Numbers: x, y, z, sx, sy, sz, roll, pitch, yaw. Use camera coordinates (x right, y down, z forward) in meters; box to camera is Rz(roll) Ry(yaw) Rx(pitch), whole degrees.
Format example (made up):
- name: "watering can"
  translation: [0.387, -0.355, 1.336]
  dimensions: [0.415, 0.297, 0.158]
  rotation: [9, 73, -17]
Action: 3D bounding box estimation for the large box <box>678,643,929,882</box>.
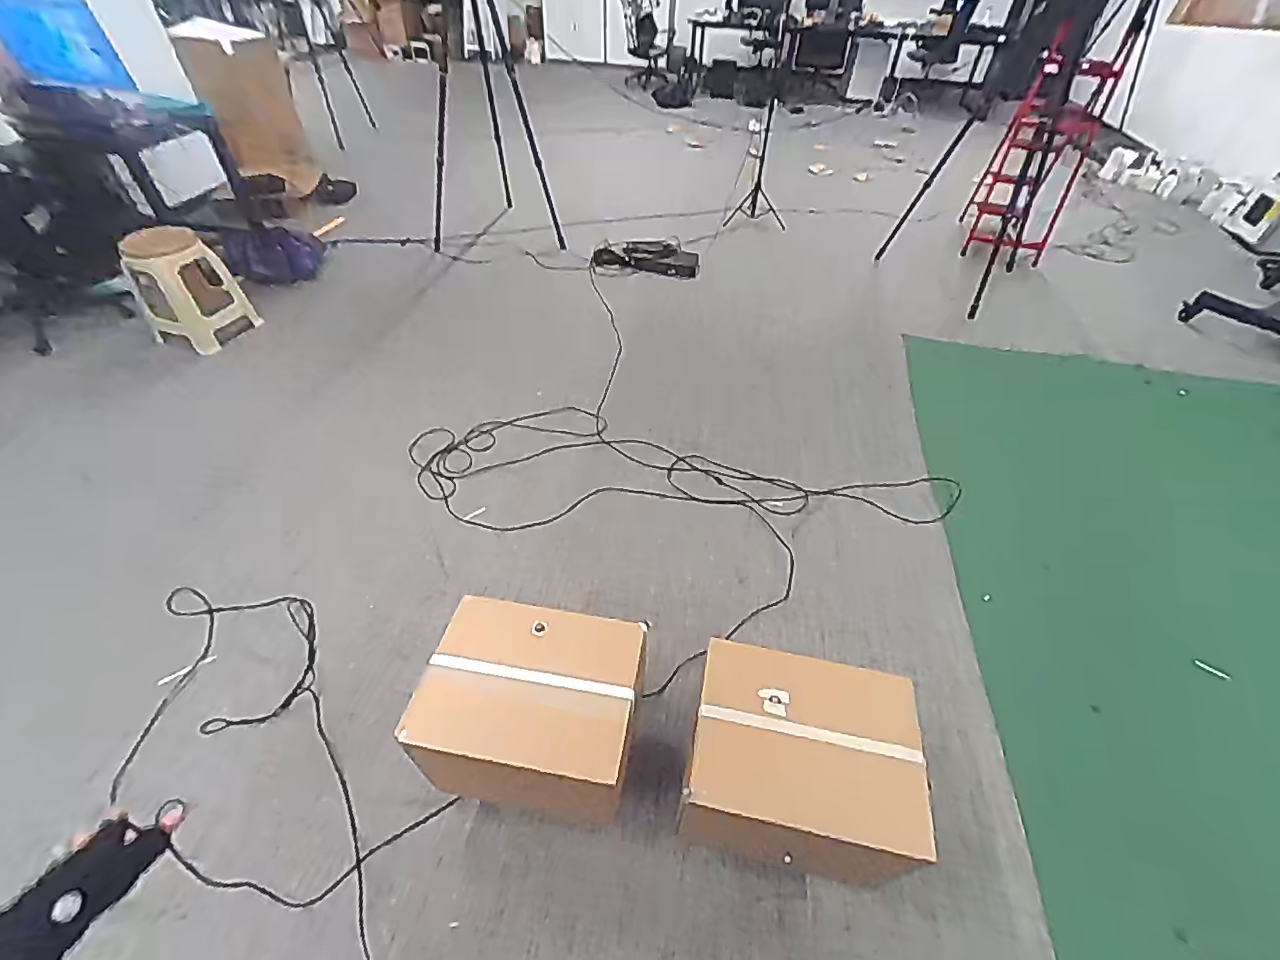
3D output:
- name: "large box"
  translation: [0.307, 0.580, 1.111]
  dimensions: [0.408, 0.320, 0.320]
  rotation: [10, 46, 8]
